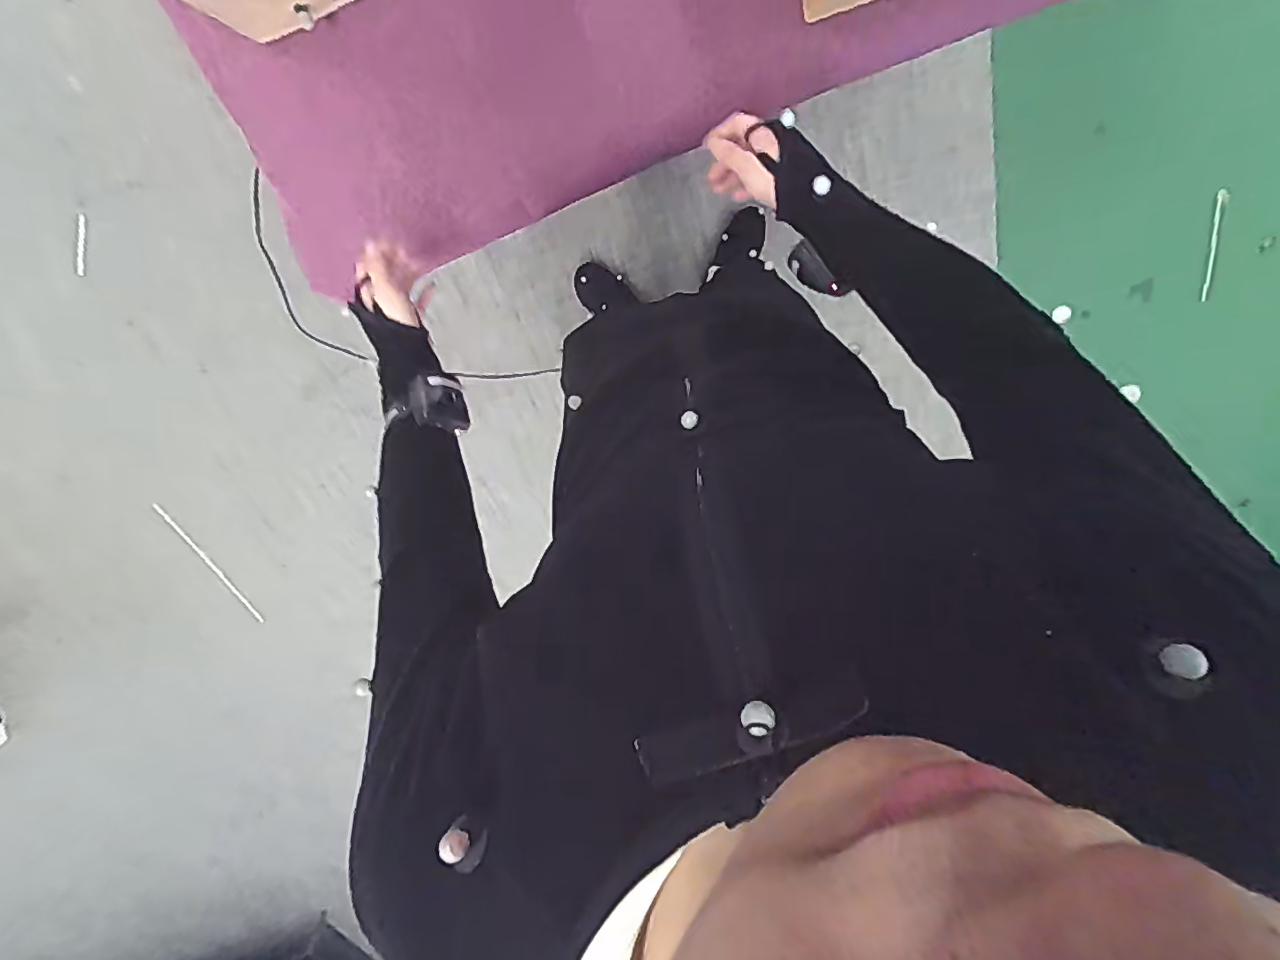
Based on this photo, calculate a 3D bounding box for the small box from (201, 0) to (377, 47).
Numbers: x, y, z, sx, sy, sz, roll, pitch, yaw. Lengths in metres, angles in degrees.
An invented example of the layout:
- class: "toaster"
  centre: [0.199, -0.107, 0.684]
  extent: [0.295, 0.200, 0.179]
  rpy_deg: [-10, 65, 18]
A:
- class: "small box"
  centre: [-0.370, -0.553, 0.498]
  extent: [0.168, 0.176, 0.179]
  rpy_deg: [-23, 117, 5]

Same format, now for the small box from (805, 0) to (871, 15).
- class: "small box"
  centre: [0.261, -0.615, 0.546]
  extent: [0.168, 0.176, 0.179]
  rpy_deg: [-19, 114, 2]
